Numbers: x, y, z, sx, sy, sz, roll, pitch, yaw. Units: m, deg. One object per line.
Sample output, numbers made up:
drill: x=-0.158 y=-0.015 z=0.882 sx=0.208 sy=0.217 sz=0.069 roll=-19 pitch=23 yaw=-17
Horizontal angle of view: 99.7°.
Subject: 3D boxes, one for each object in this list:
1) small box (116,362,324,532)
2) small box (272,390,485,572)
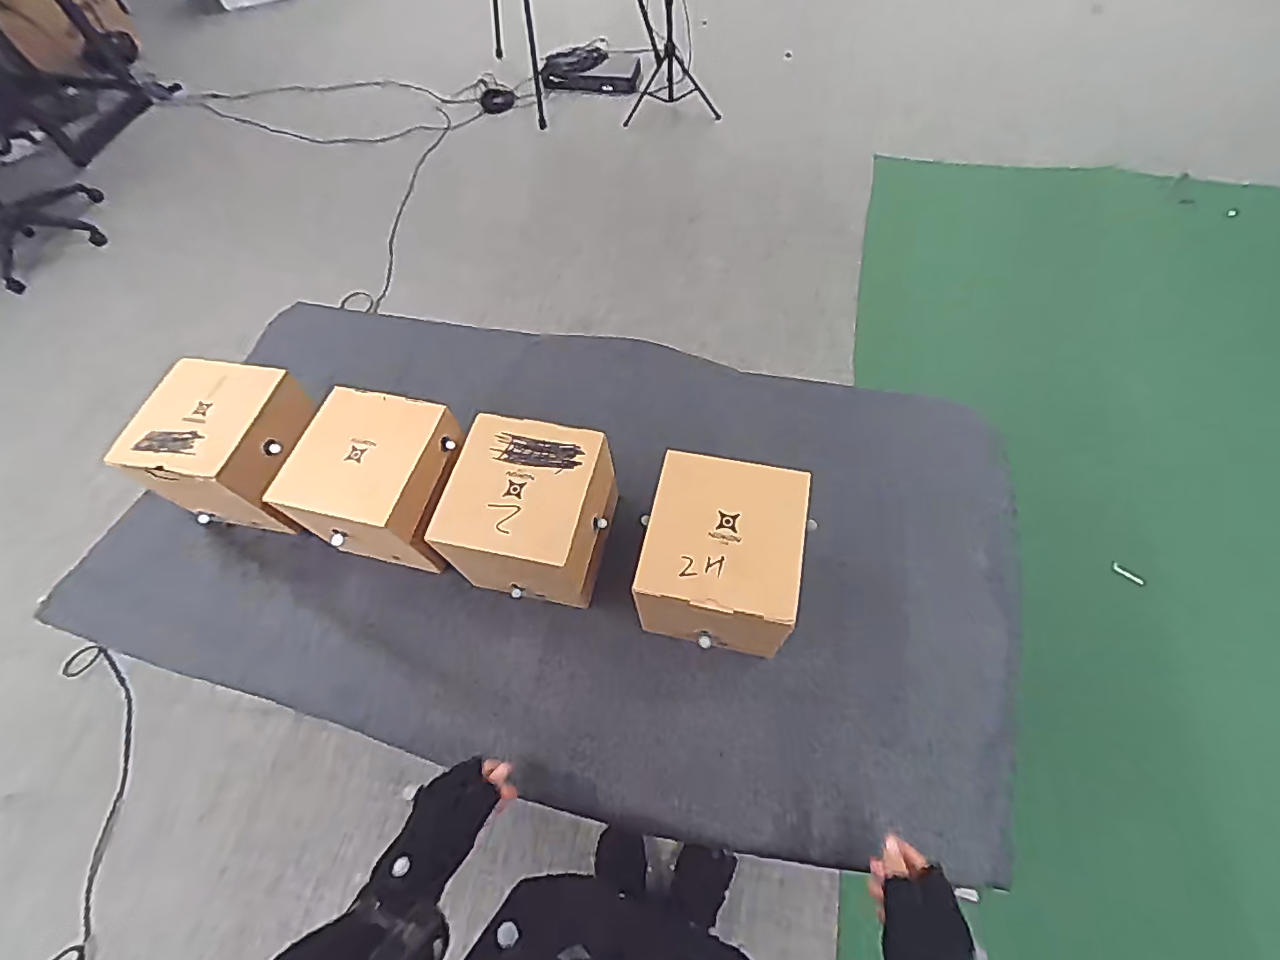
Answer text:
small box: x=-0.560 y=-0.041 z=0.776 sx=0.168 sy=0.176 sz=0.179 roll=8 pitch=61 yaw=8
small box: x=-0.333 y=0.008 z=0.733 sx=0.168 sy=0.176 sz=0.179 roll=11 pitch=61 yaw=10
